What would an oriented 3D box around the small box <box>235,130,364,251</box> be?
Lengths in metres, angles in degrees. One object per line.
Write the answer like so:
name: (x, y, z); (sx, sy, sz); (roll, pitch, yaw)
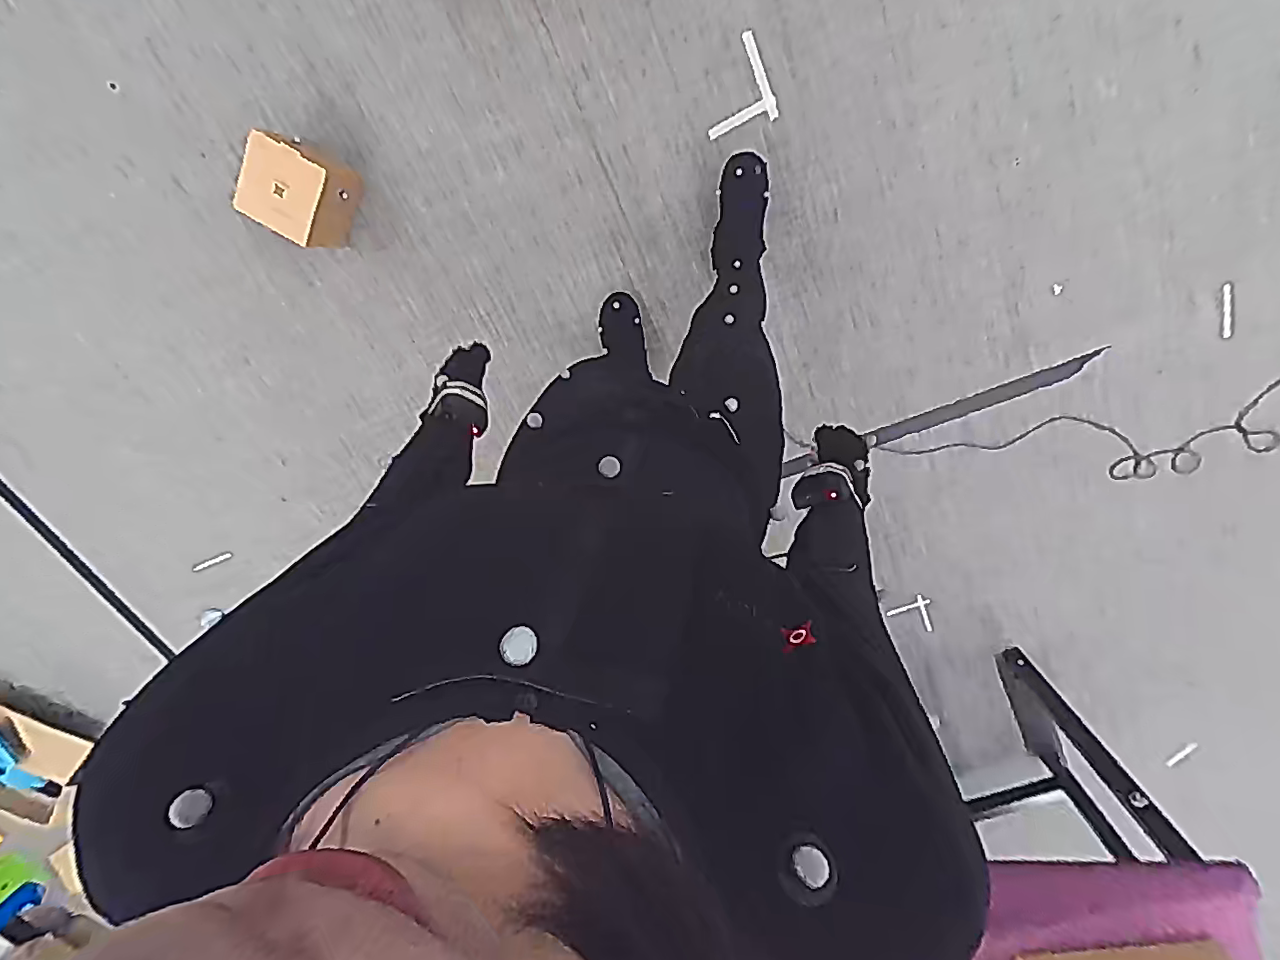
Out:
small box: (-0.757, -0.643, 1.221); (0.168, 0.176, 0.179); (29, 112, -9)
